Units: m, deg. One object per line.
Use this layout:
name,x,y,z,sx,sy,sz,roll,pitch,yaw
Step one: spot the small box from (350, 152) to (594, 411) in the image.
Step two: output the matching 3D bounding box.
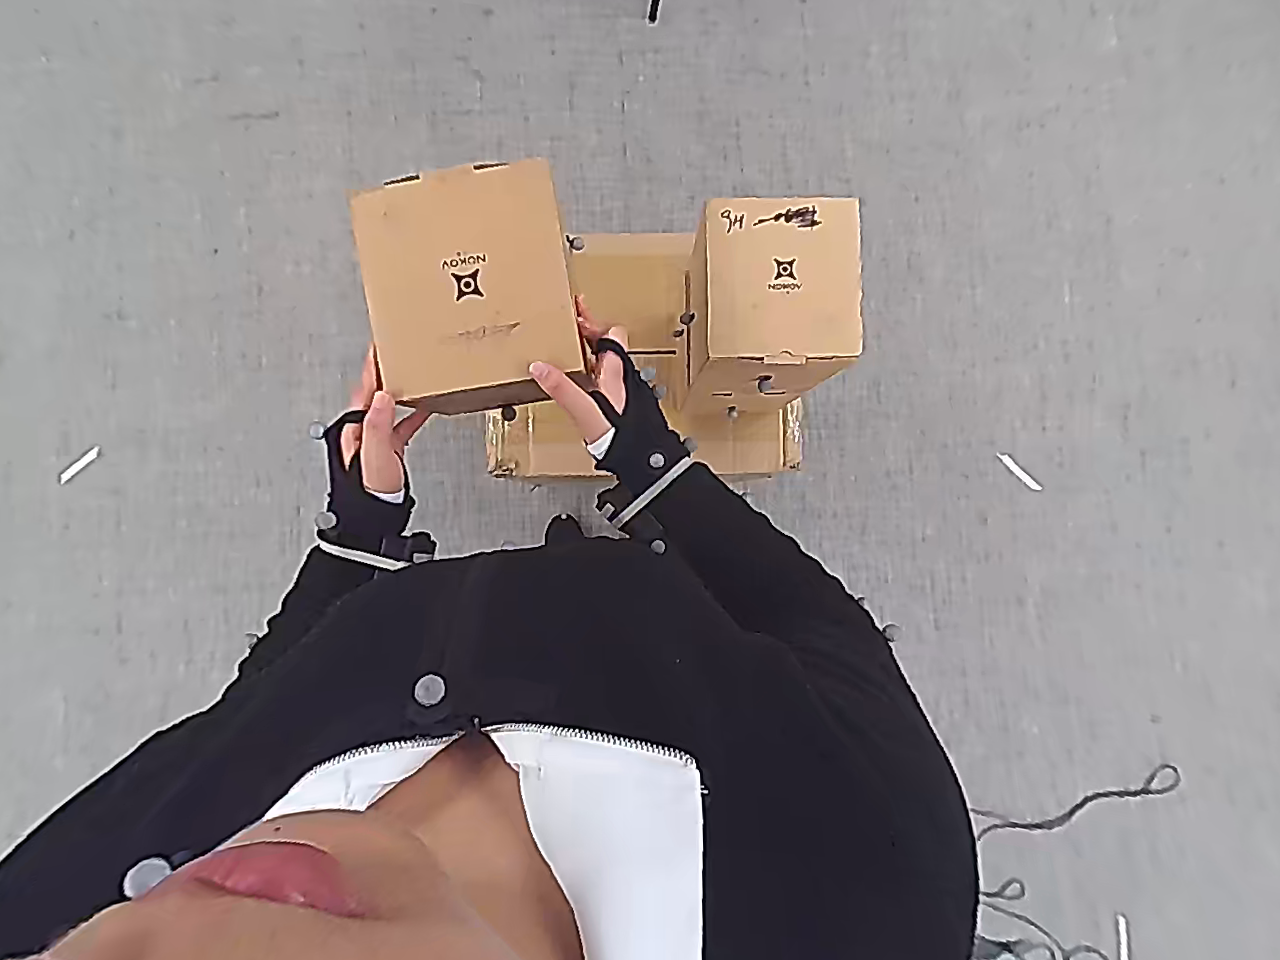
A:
small box,-0.141,-0.169,0.515,0.168,0.176,0.179,-10,93,-1

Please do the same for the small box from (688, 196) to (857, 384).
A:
small box,0.149,-0.215,0.655,0.168,0.176,0.179,0,89,-1

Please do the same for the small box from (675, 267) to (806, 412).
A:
small box,0.142,-0.204,0.818,0.168,0.176,0.179,-1,88,-1
